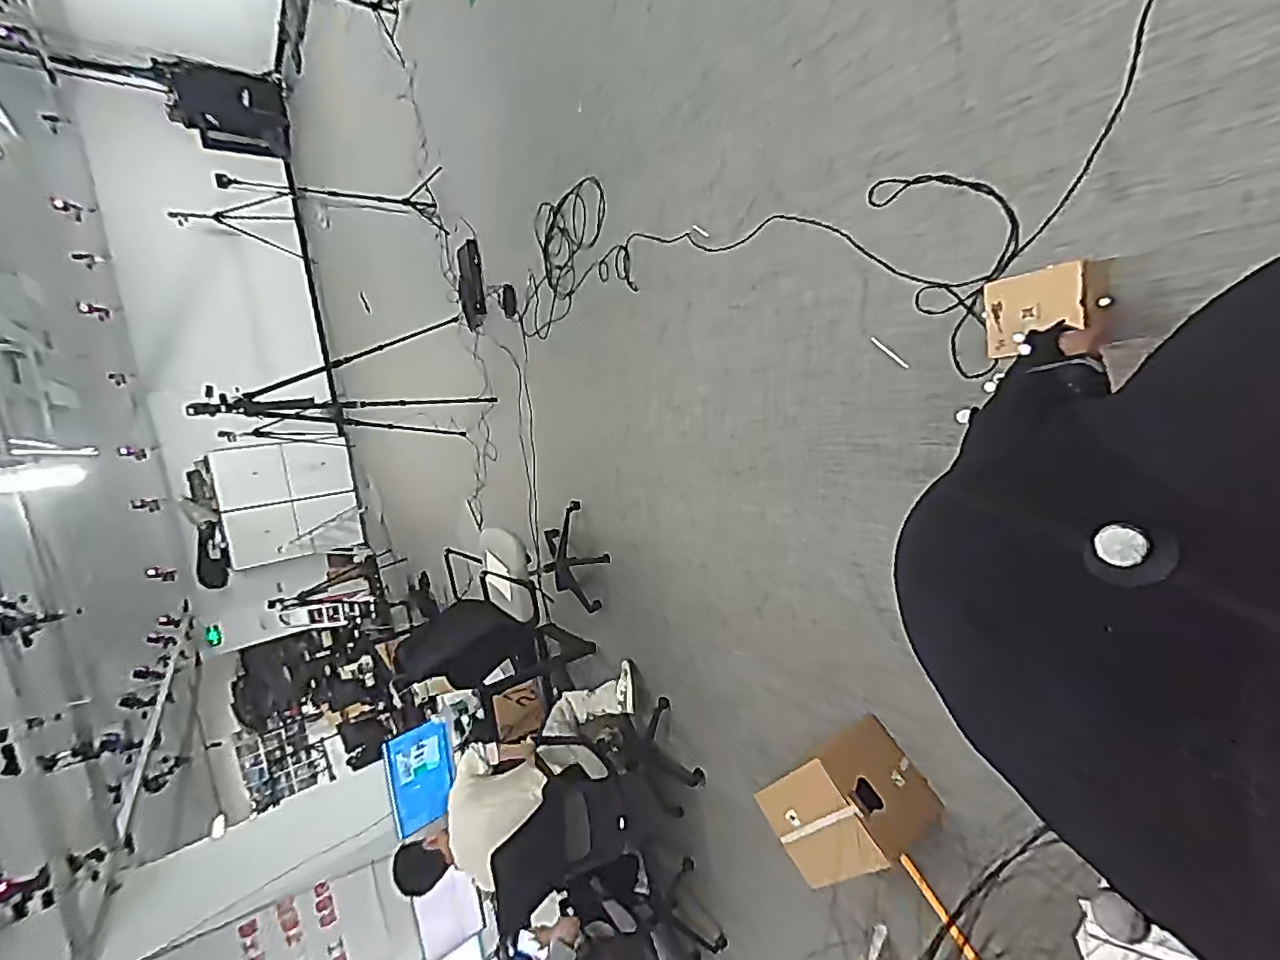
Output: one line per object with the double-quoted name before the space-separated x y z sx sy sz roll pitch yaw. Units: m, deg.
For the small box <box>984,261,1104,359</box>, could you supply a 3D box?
"small box" 0.878 -0.363 1.170 0.179 0.176 0.168 0 100 52
